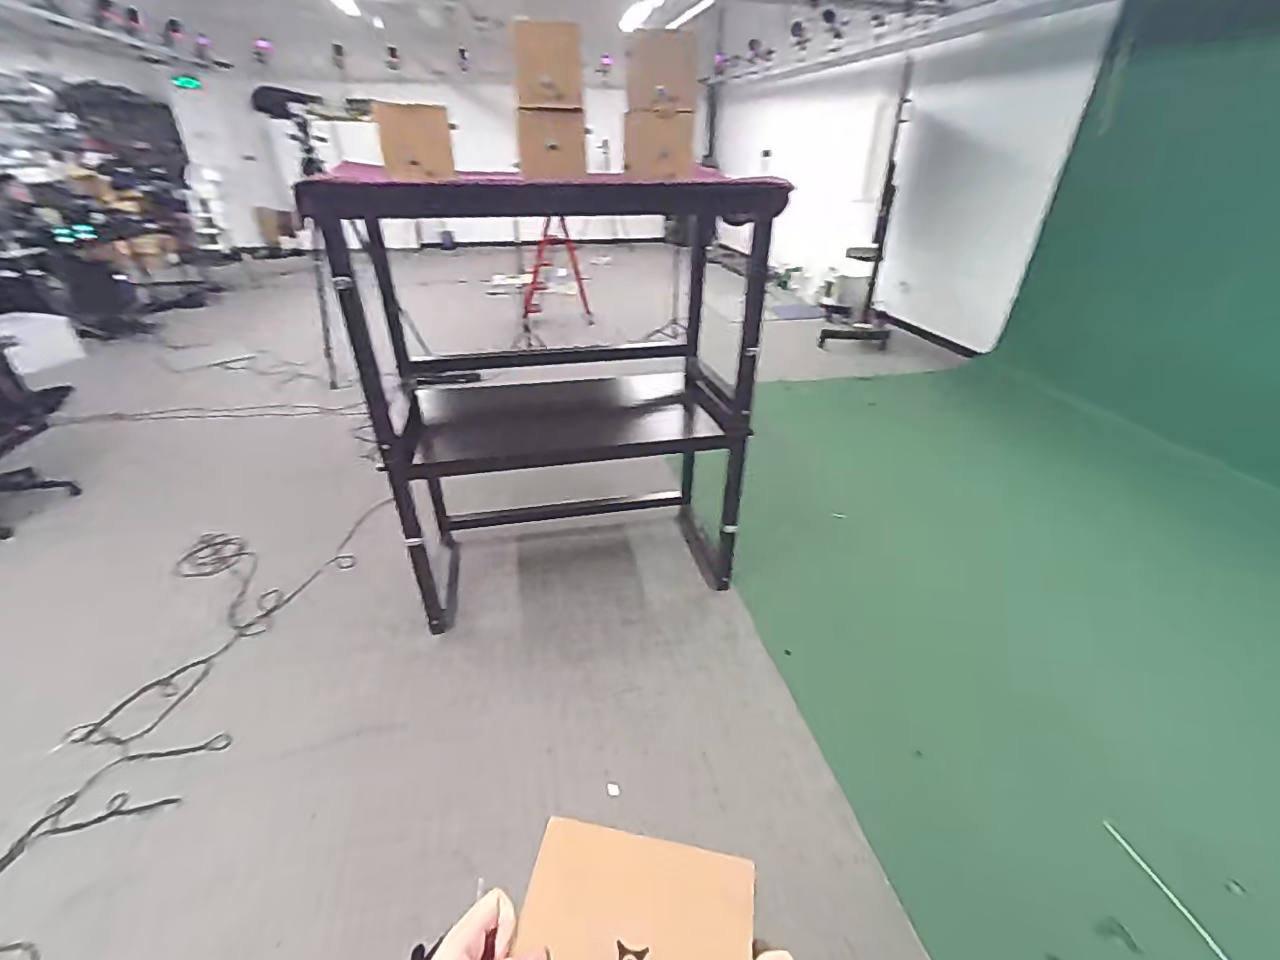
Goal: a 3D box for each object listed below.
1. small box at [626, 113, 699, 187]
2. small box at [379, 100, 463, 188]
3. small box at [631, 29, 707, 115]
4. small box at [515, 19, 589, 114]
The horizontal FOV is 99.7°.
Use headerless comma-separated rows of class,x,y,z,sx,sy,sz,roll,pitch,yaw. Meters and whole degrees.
small box,0.057,-0.907,1.487,0.168,0.176,0.179,-6,33,-11
small box,-0.540,-0.833,1.351,0.168,0.176,0.179,-7,31,-15
small box,0.068,-1.046,1.402,0.168,0.176,0.179,-6,33,-8
small box,-0.216,-1.013,1.338,0.168,0.176,0.179,-5,33,-8
